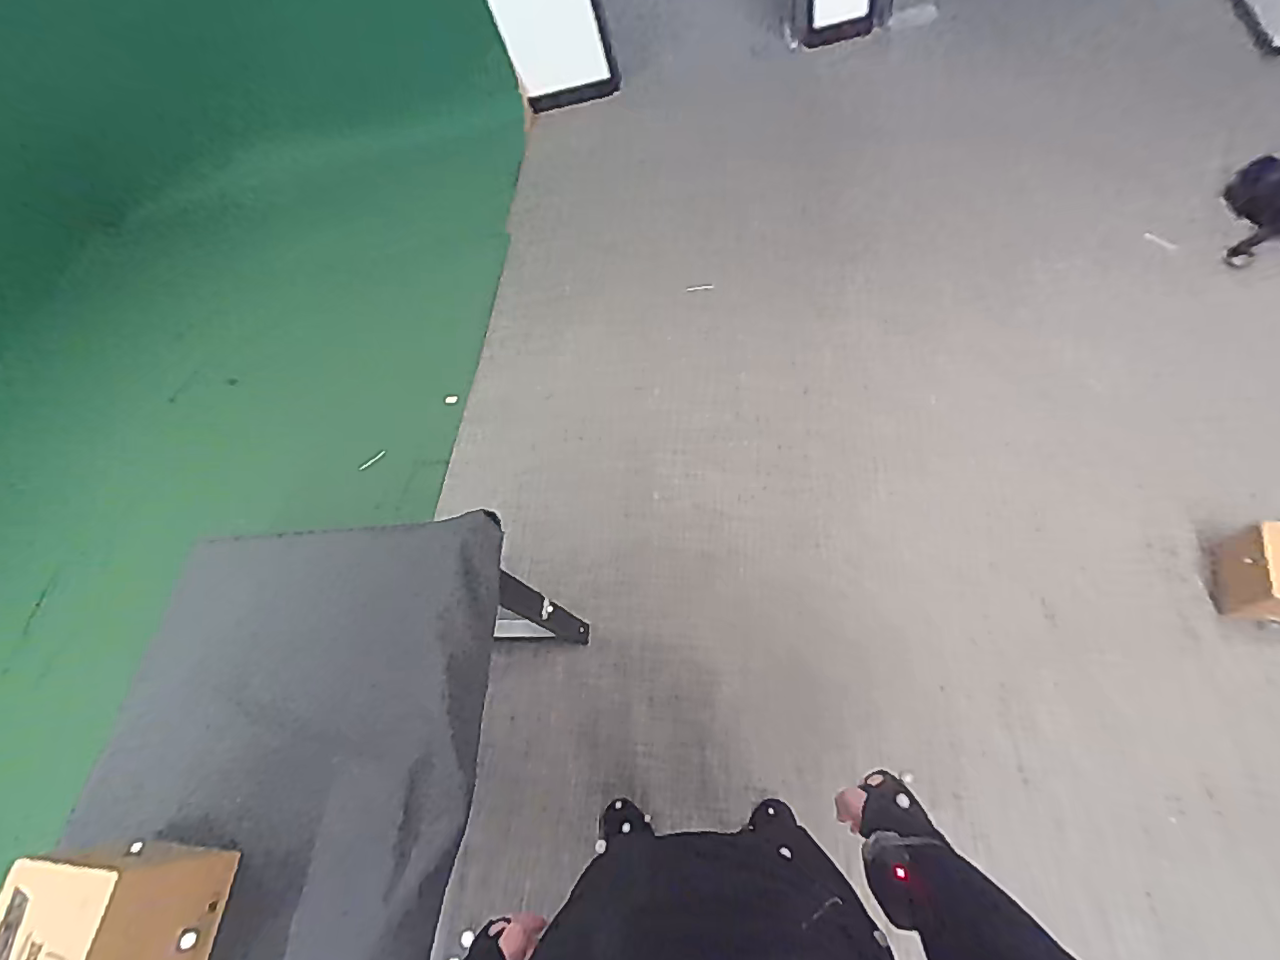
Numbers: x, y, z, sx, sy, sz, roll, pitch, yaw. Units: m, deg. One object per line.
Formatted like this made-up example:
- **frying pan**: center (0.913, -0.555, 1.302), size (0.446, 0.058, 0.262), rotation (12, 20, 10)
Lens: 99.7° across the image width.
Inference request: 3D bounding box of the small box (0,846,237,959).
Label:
- **small box**: center (-0.676, 0.577, 0.685), size (0.179, 0.176, 0.168), rotation (-3, 63, 12)

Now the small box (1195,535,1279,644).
- **small box**: center (1.361, 0.240, 1.172), size (0.168, 0.176, 0.179), rotation (8, 66, 20)
